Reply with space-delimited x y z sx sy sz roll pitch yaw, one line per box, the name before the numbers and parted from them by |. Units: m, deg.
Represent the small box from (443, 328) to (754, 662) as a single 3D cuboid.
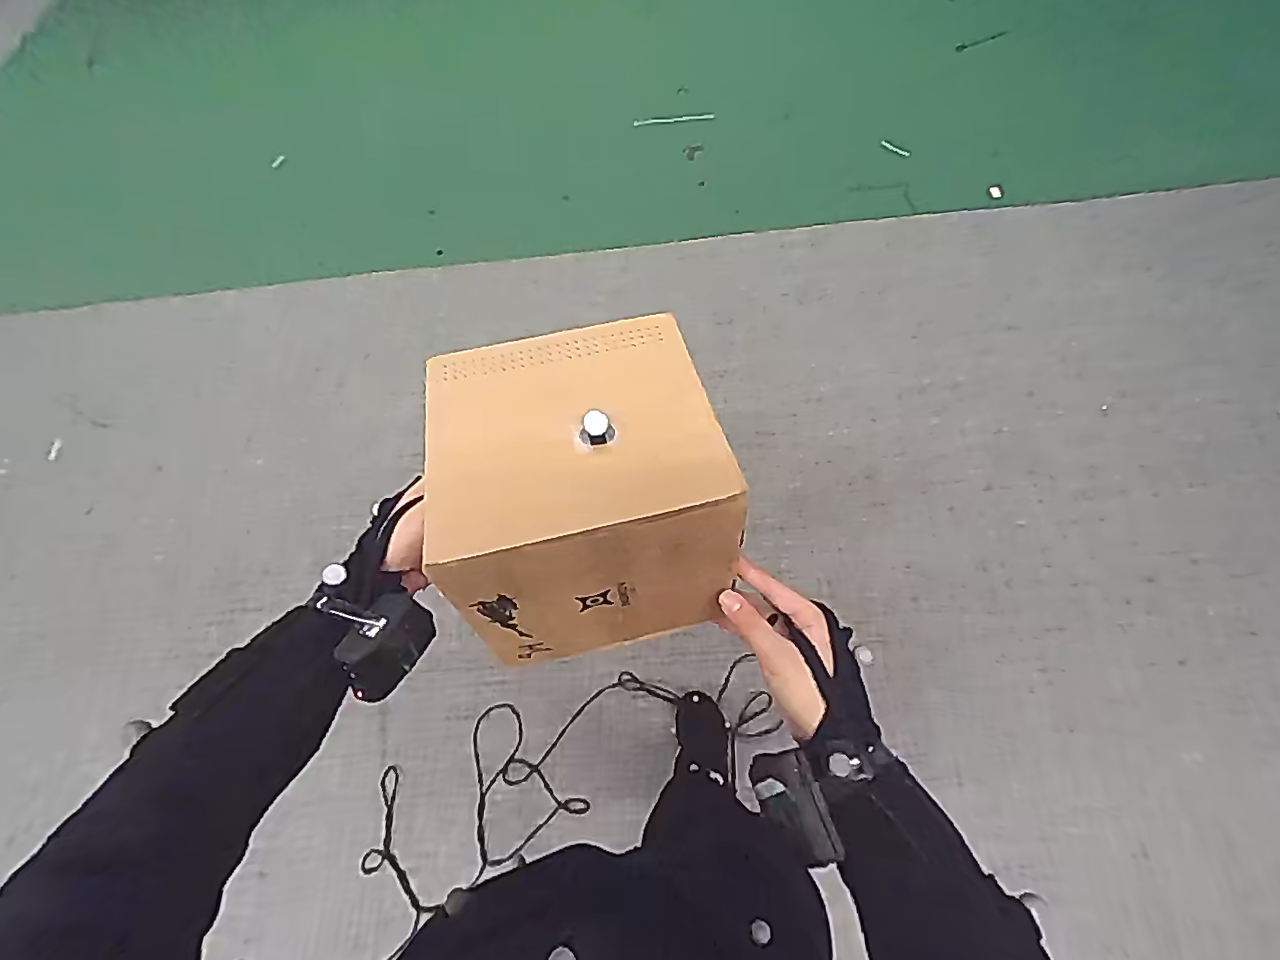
small box | -0.035 0.009 0.404 0.179 0.168 0.176 -13 53 -6
